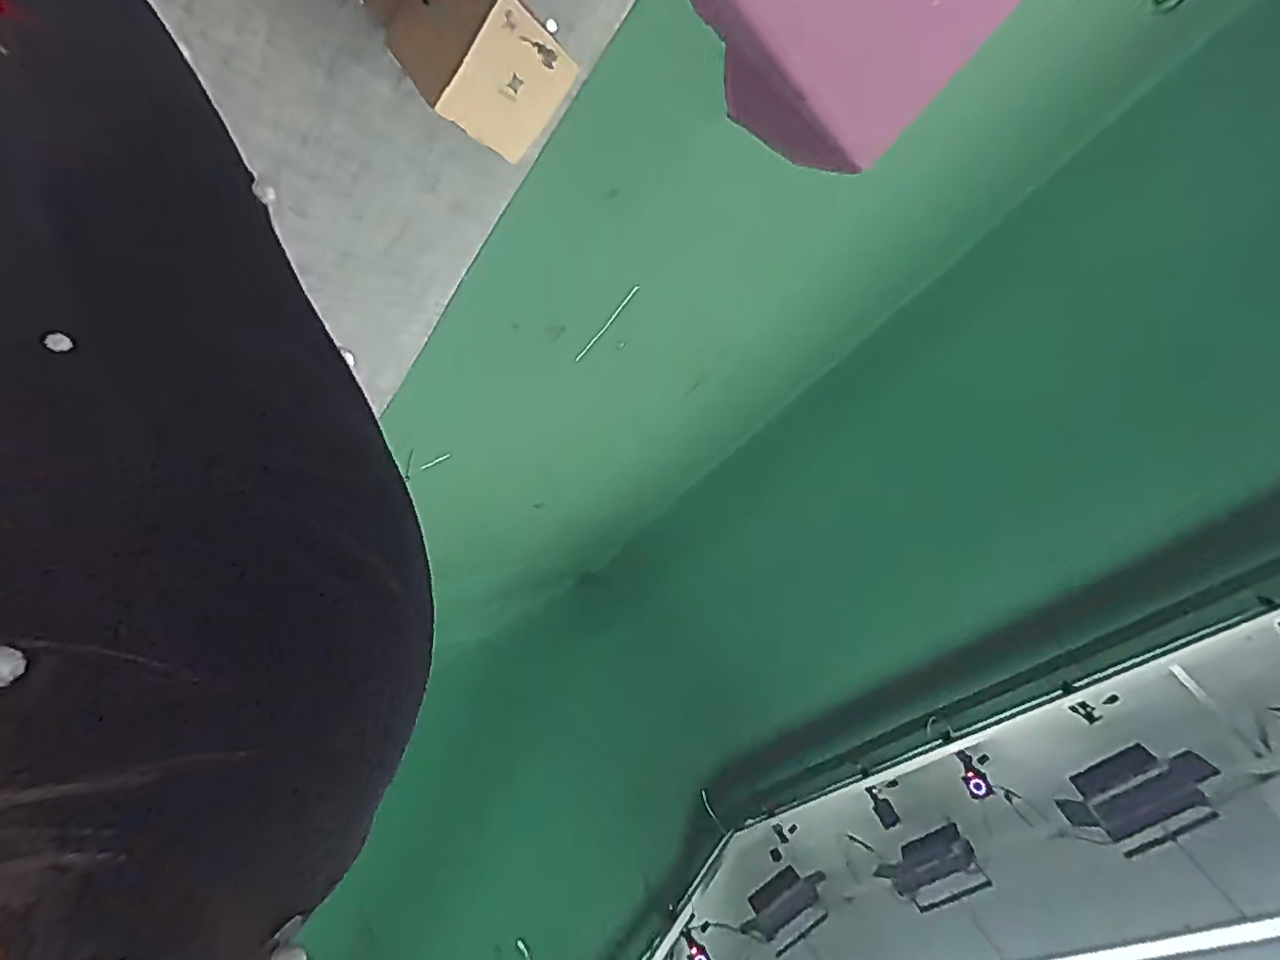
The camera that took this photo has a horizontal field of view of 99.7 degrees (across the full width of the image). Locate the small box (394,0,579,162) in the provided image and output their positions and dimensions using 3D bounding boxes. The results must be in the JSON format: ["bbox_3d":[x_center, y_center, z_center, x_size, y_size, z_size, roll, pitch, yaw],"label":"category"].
[{"bbox_3d":[-0.229,-0.627,0.792,0.179,0.176,0.168,-40,164,24],"label":"small box"}]
